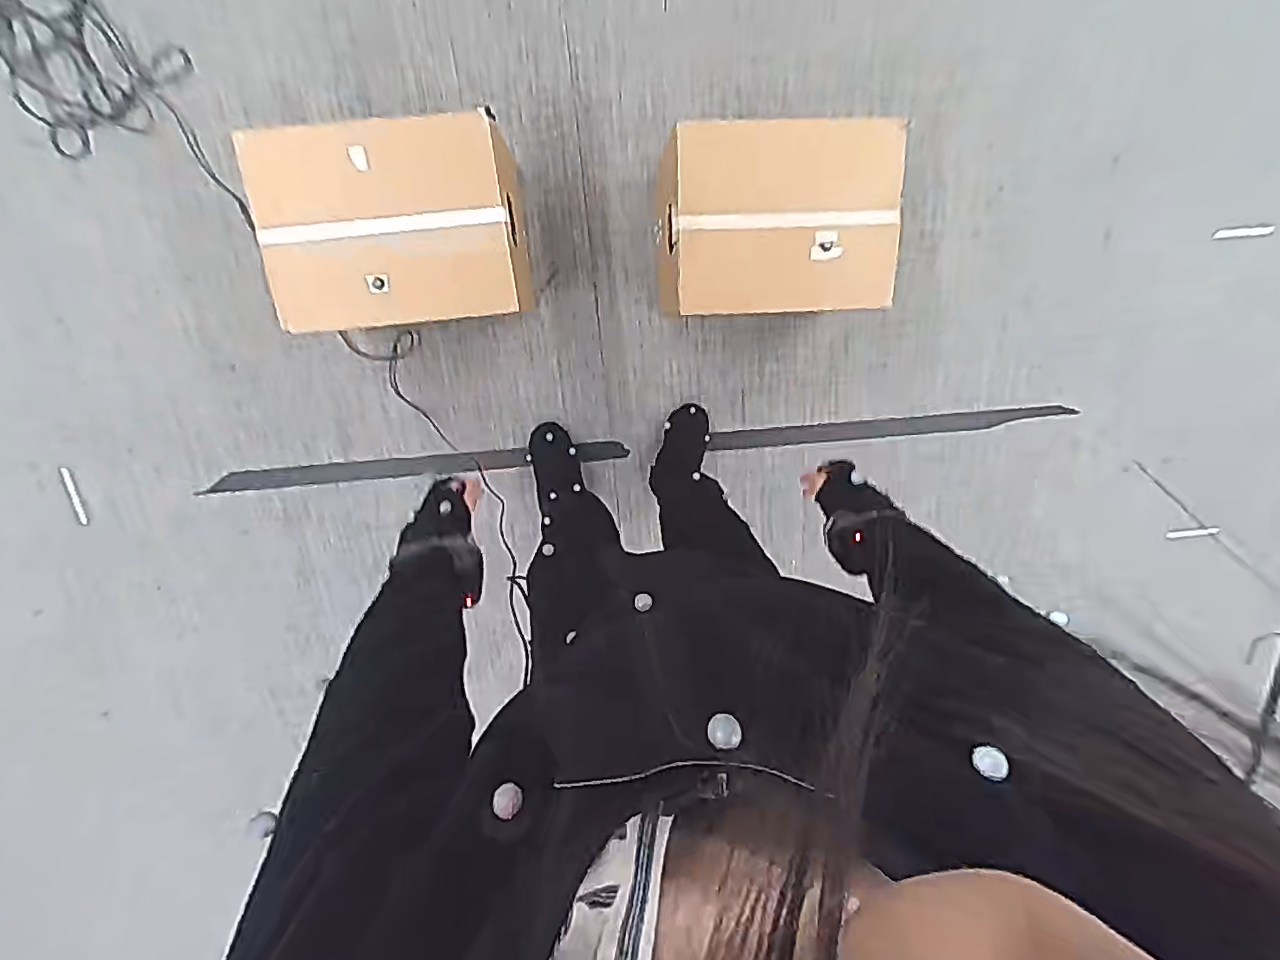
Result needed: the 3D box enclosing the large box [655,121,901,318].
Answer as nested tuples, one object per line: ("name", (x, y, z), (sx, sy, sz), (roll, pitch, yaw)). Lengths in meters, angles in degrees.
("large box", (0.251, -0.505, 1.110), (0.408, 0.320, 0.320), (-3, 106, -5))
